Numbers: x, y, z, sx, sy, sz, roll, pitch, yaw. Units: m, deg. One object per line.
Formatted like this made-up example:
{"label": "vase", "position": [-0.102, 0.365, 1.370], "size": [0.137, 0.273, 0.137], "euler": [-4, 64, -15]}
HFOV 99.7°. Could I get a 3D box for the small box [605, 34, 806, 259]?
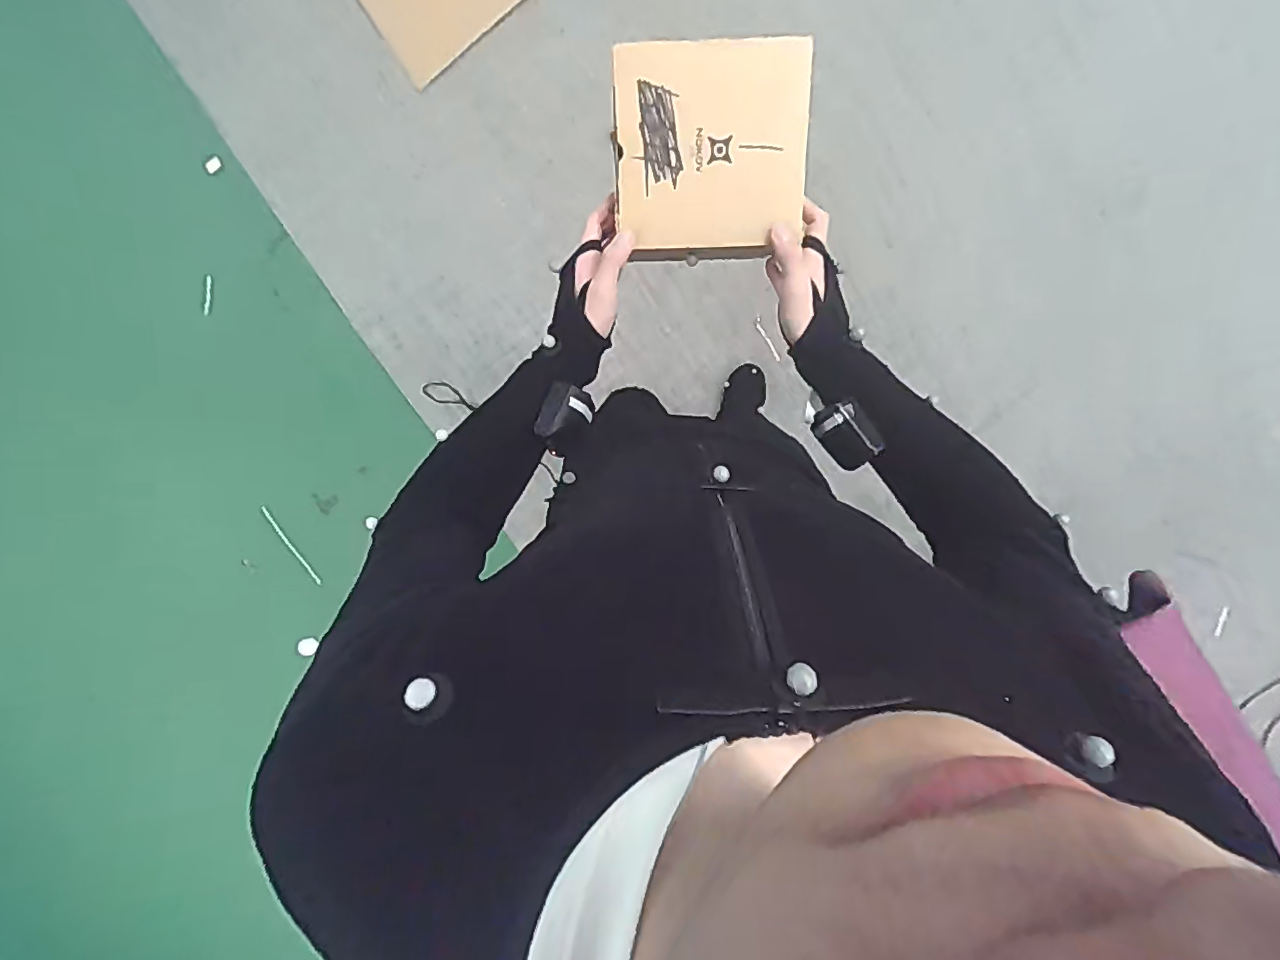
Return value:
{"label": "small box", "position": [0.061, -0.328, 0.567], "size": [0.179, 0.176, 0.168], "euler": [-2, 109, 2]}
